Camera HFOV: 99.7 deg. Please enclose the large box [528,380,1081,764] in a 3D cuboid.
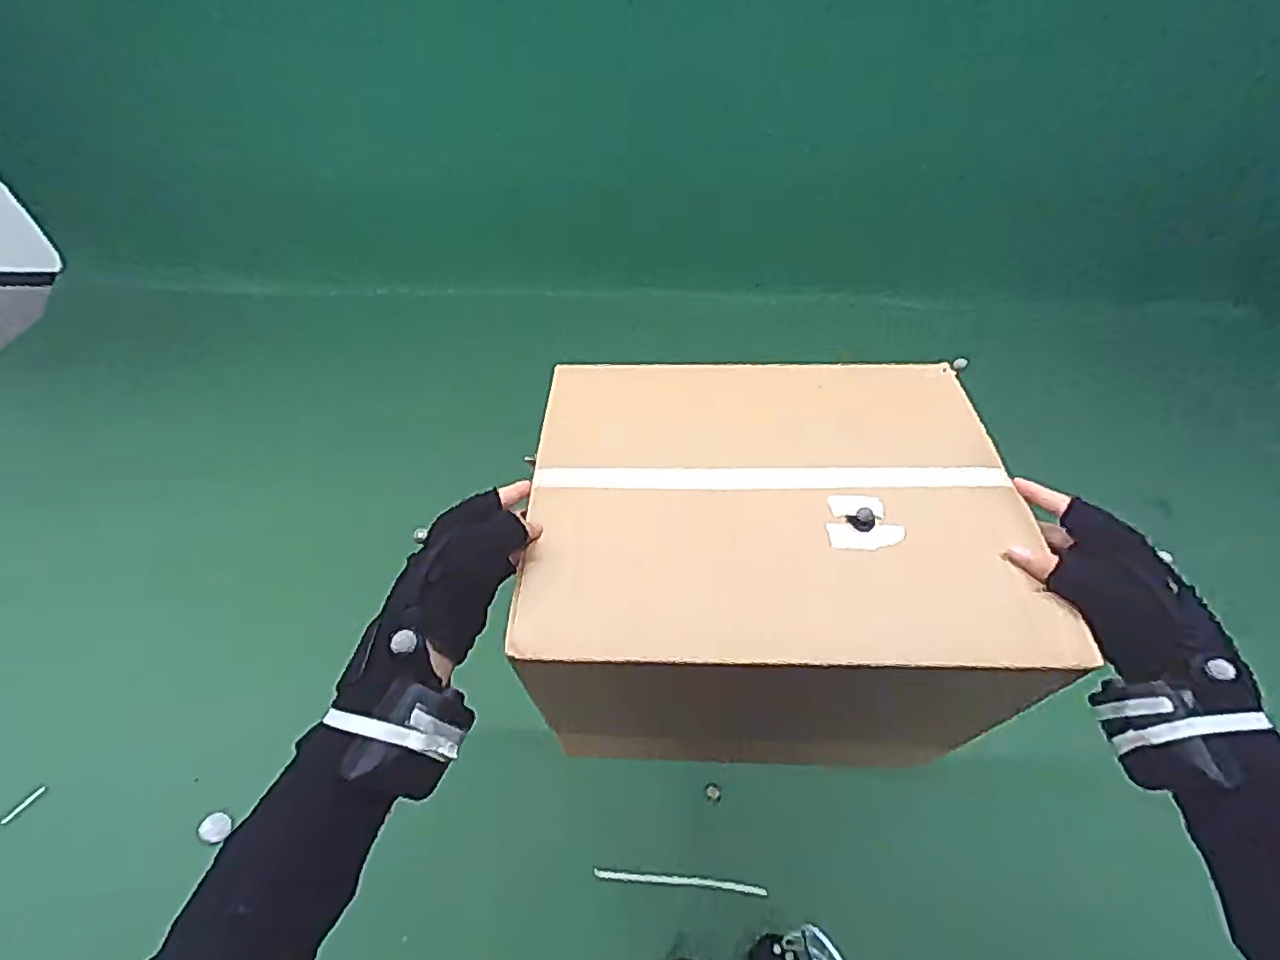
[{"bbox_3d":[0.118,0.106,0.592,0.408,0.320,0.320,1,51,2],"label":"large box"}]
